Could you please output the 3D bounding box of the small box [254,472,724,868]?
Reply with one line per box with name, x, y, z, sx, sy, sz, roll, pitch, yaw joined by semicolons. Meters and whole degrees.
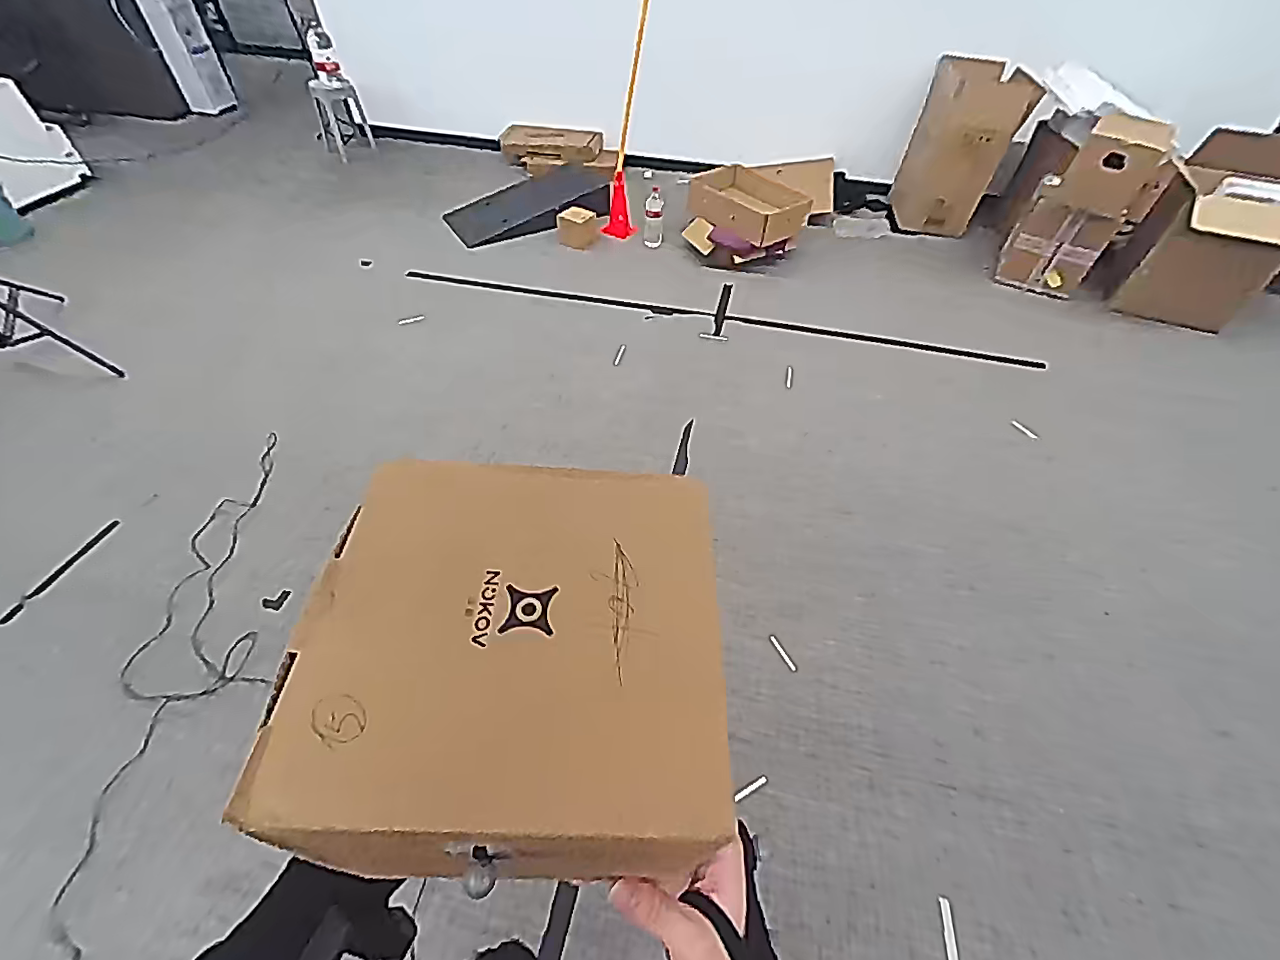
small box;-0.060;0.114;0.310;0.179;0.176;0.168;3;50;-4
